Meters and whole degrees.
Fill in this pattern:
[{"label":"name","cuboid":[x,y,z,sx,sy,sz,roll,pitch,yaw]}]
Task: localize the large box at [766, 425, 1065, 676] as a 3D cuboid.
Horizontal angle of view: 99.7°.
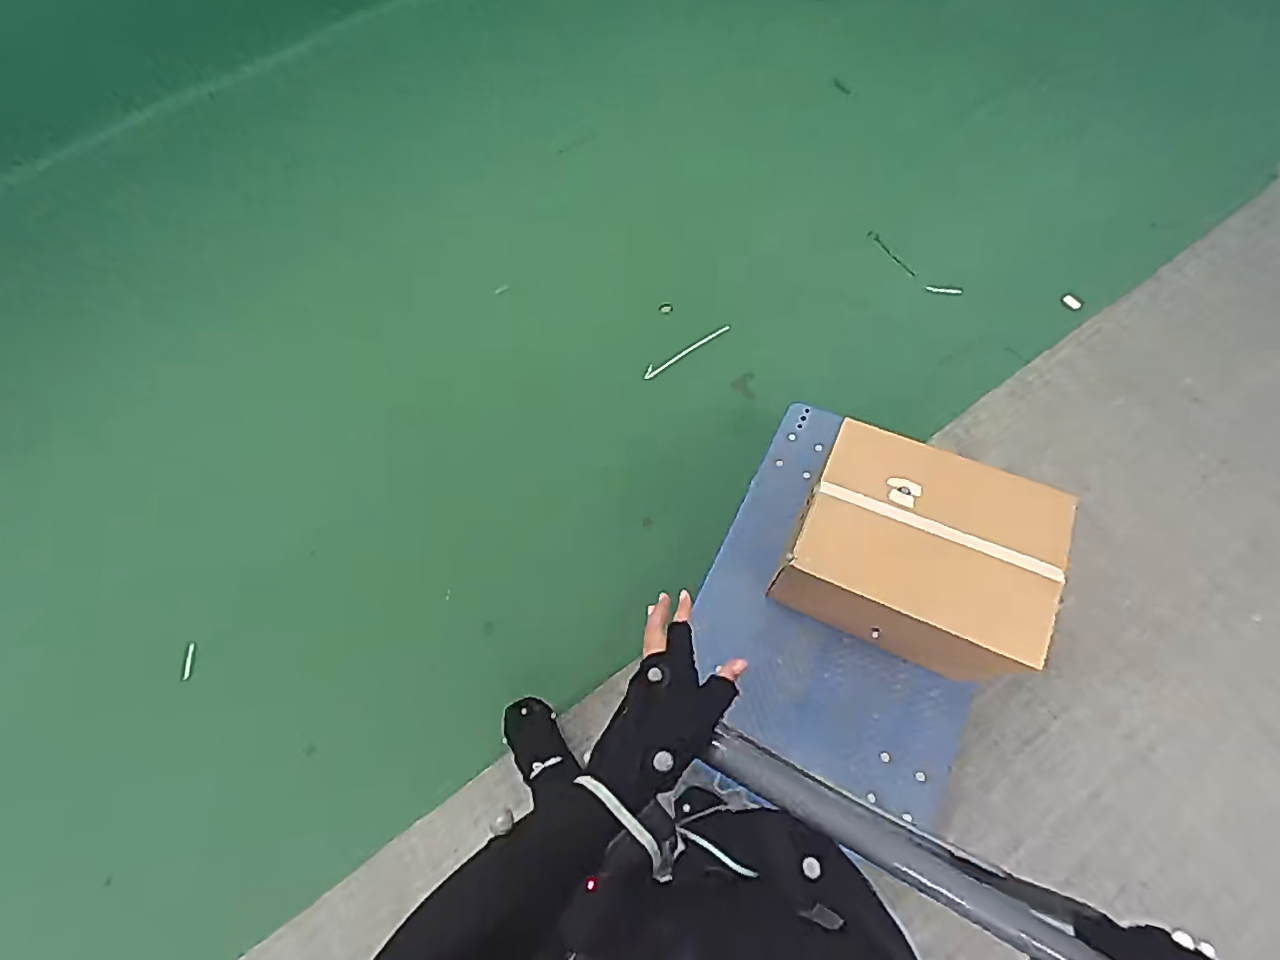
[{"label":"large box","cuboid":[0.501,0.150,1.058,0.408,0.320,0.320,22,71,15]}]
